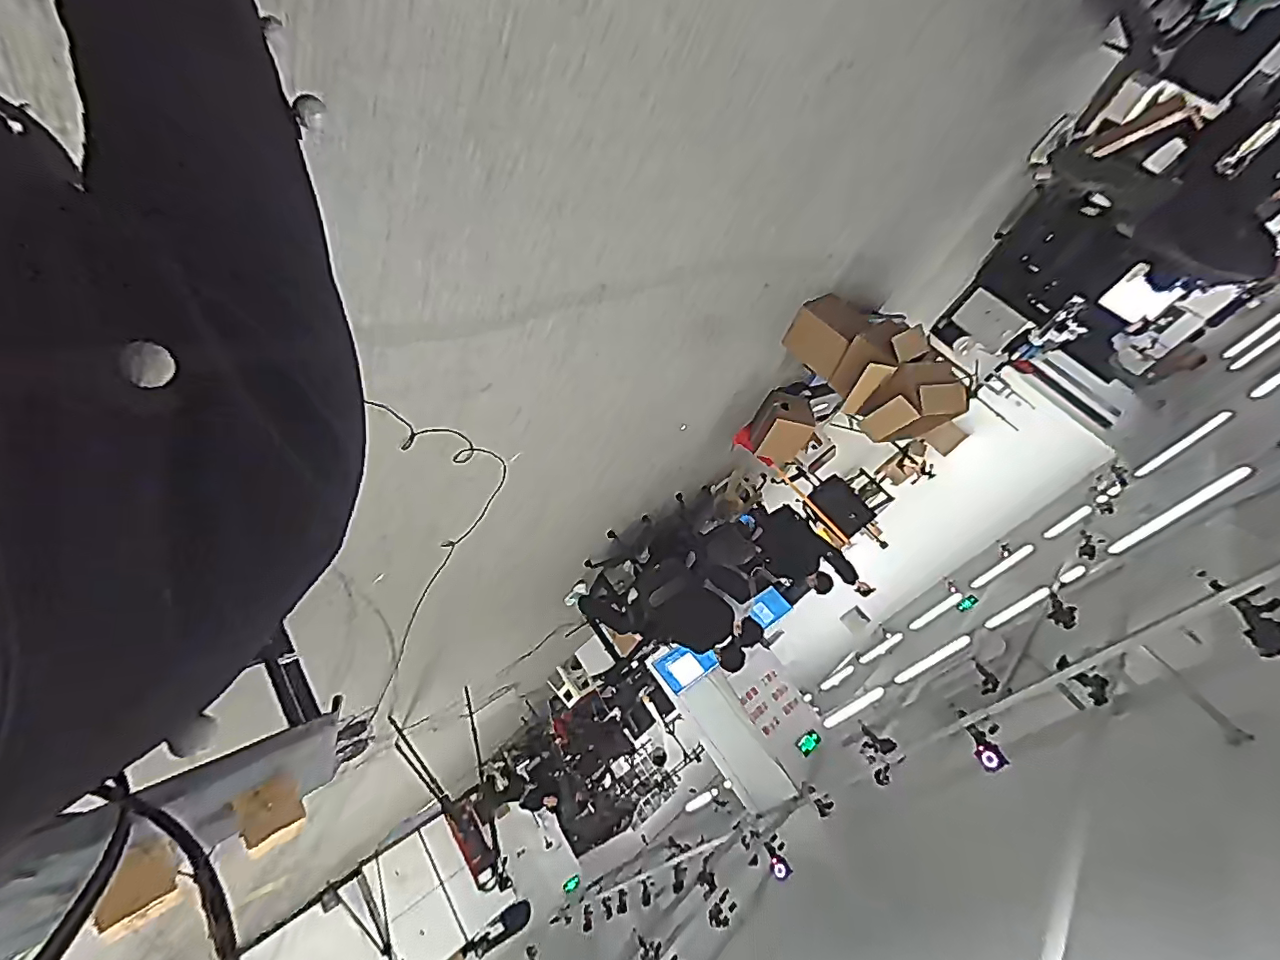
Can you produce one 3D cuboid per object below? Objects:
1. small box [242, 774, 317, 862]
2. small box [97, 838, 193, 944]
[{"bbox_3d":[-1.187,1.107,1.781,0.168,0.176,0.179,-19,149,-40],"label":"small box"},{"bbox_3d":[-1.412,1.168,1.545,0.168,0.176,0.179,-17,150,-43],"label":"small box"}]
